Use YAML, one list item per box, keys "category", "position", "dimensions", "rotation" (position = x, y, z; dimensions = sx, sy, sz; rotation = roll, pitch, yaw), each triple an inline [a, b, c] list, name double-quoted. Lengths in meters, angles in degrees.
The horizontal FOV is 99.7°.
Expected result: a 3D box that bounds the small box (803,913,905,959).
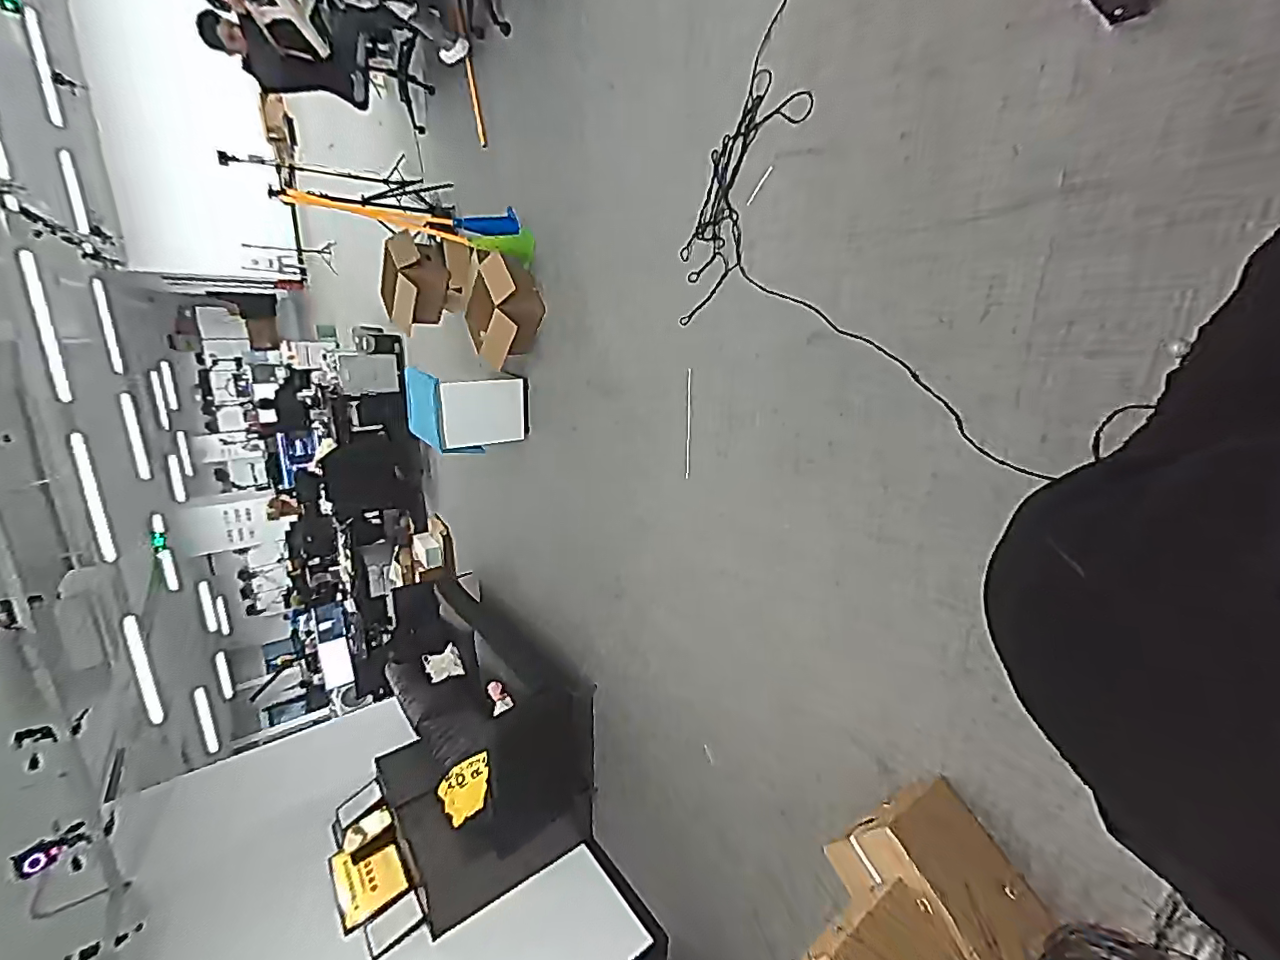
- category: "small box"
  position: [0.542, 1.203, 1.310]
  dimensions: [0.179, 0.176, 0.168]
  rotation: [56, 139, 31]
